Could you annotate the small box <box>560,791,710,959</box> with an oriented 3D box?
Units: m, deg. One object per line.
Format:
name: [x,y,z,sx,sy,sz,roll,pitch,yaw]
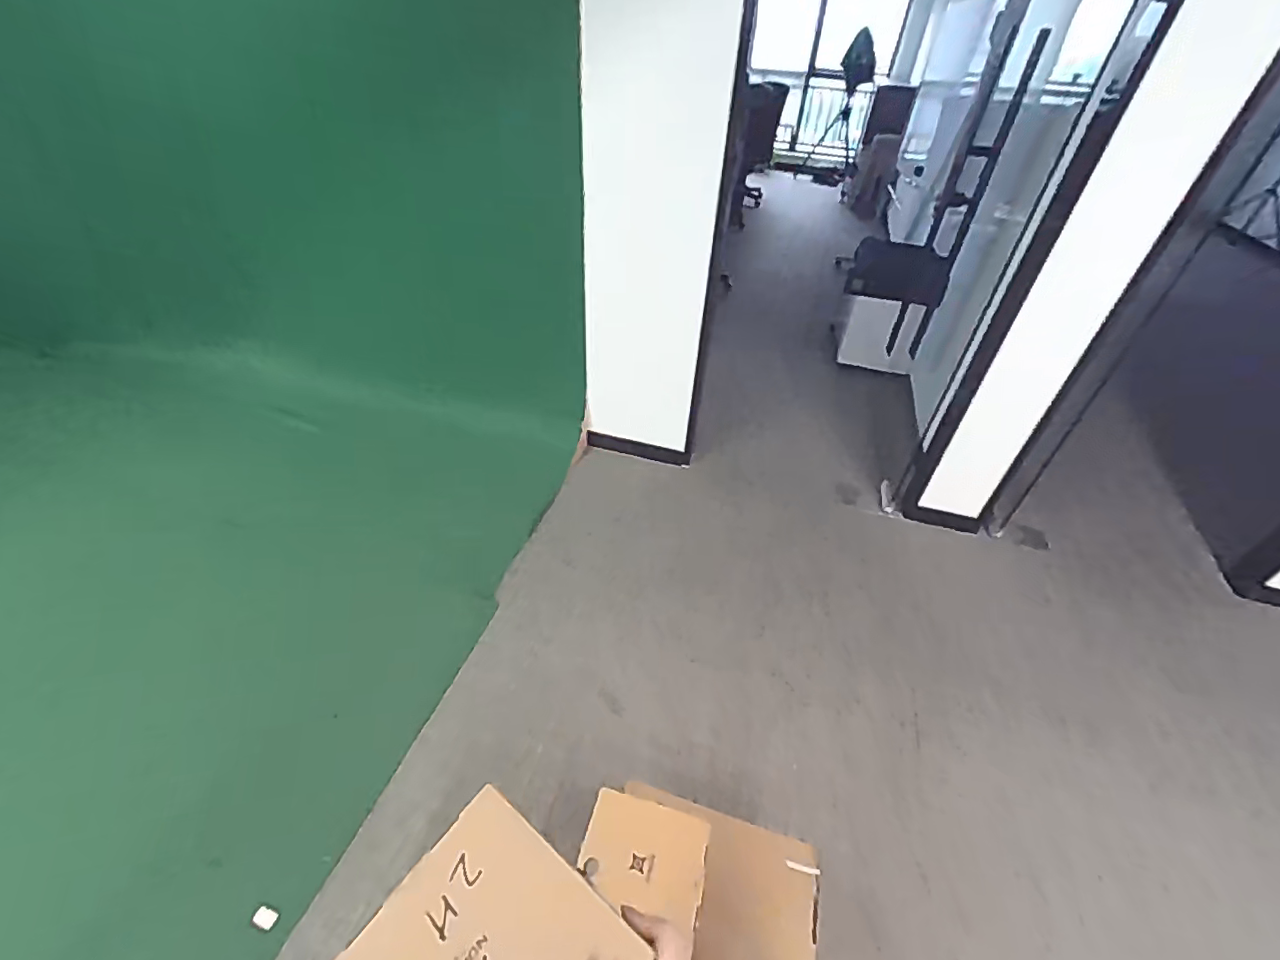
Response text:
small box: [-0.007,0.605,0.802,0.179,0.176,0.168,13,38,10]
